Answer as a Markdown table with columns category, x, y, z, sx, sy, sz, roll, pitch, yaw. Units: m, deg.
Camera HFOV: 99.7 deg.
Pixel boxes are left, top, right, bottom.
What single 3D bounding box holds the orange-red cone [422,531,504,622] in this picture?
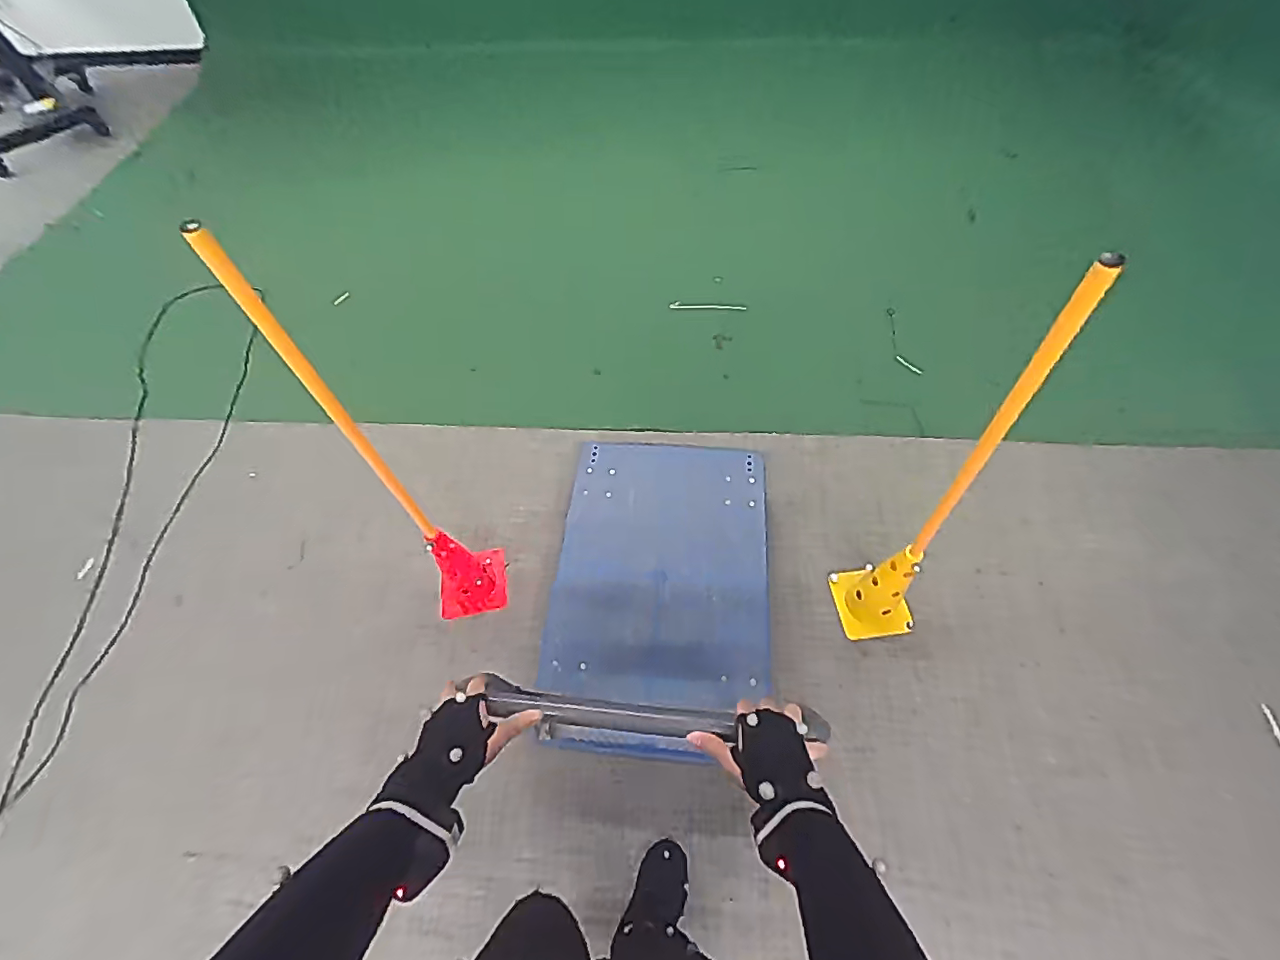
| category | x | y | z | sx | sy | sz | roll | pitch | yaw |
| --- | --- | --- | --- | --- | --- | --- | --- | --- | --- |
| orange-red cone | -0.525 | 0.240 | 1.512 | 0.199 | 0.360 | 0.198 | -11 | 58 | -2 |
